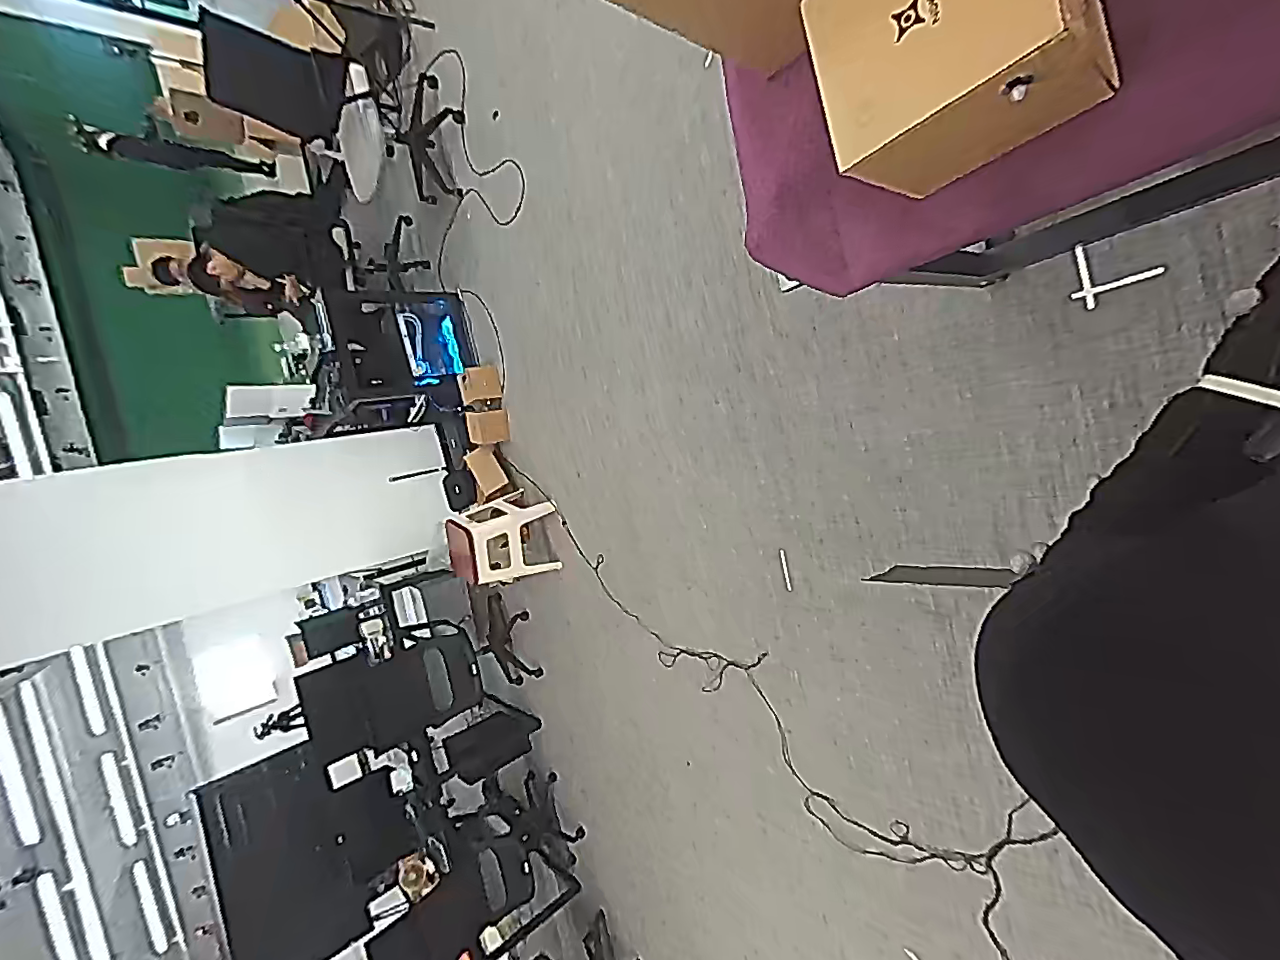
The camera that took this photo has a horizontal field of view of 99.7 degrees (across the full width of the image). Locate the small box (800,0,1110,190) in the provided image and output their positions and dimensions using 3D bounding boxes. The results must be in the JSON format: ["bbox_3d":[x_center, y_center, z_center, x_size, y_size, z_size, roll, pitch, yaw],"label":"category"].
[{"bbox_3d":[0.279,-0.392,0.485,0.179,0.176,0.168,-14,90,50],"label":"small box"}]

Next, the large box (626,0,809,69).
[{"bbox_3d":[0.110,-0.697,0.474,0.320,0.320,0.408,-12,95,50],"label":"large box"}]
